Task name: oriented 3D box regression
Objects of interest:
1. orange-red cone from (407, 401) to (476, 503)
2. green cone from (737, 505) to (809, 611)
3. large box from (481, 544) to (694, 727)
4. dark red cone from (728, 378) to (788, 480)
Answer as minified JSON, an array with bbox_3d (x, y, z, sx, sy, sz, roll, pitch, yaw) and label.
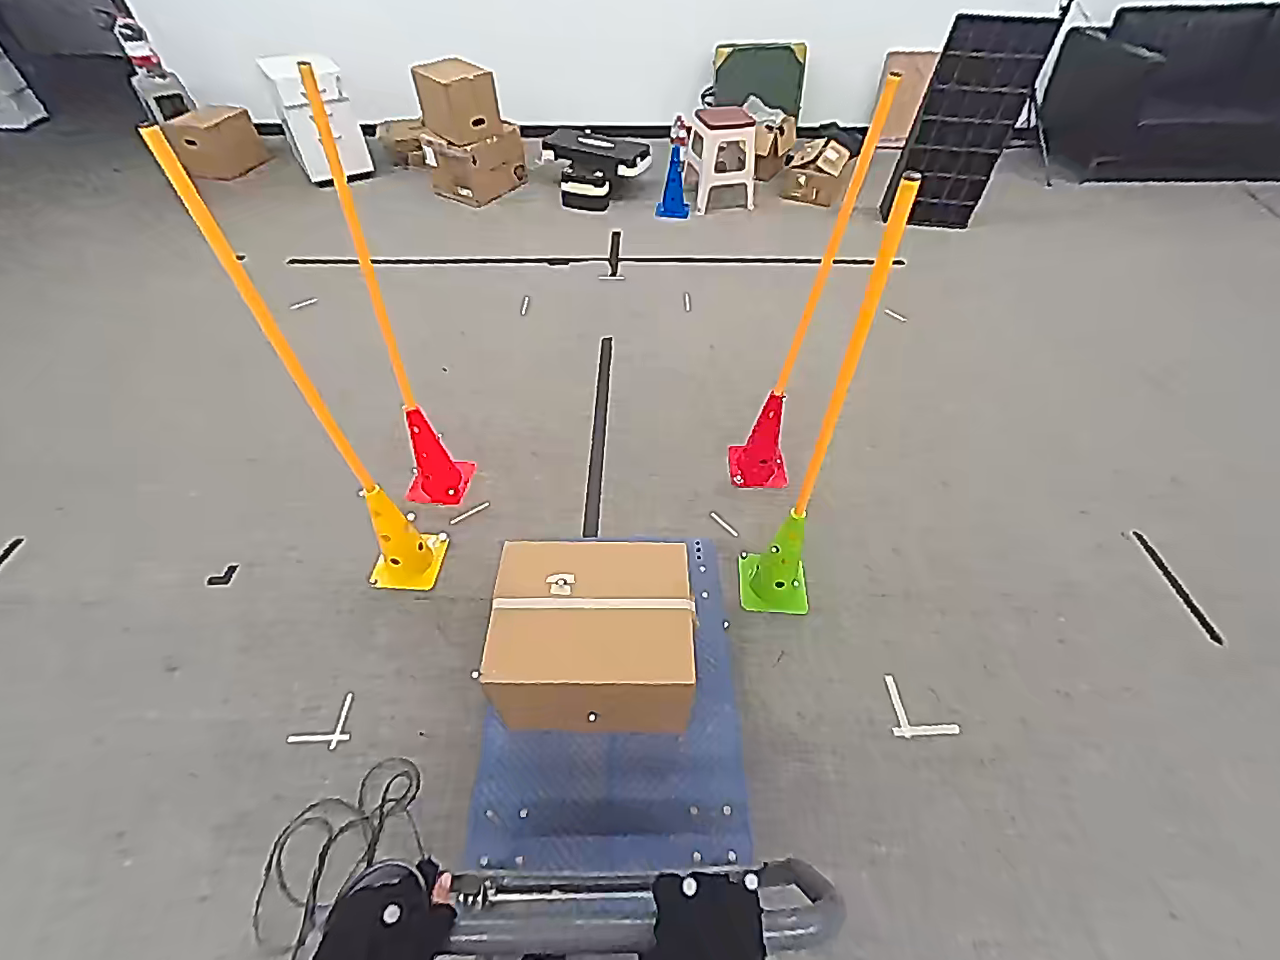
[{"bbox_3d":[-0.697,-0.118,1.795,0.198,0.360,0.199,7,48,4],"label":"orange-red cone"},{"bbox_3d":[0.410,0.198,1.543,0.202,0.368,0.200,5,50,1],"label":"green cone"},{"bbox_3d":[-0.098,0.355,1.212,0.408,0.320,0.320,0,50,0],"label":"large box"},{"bbox_3d":[0.434,-0.182,1.844,0.201,0.394,0.202,2,50,-2],"label":"dark red cone"}]
